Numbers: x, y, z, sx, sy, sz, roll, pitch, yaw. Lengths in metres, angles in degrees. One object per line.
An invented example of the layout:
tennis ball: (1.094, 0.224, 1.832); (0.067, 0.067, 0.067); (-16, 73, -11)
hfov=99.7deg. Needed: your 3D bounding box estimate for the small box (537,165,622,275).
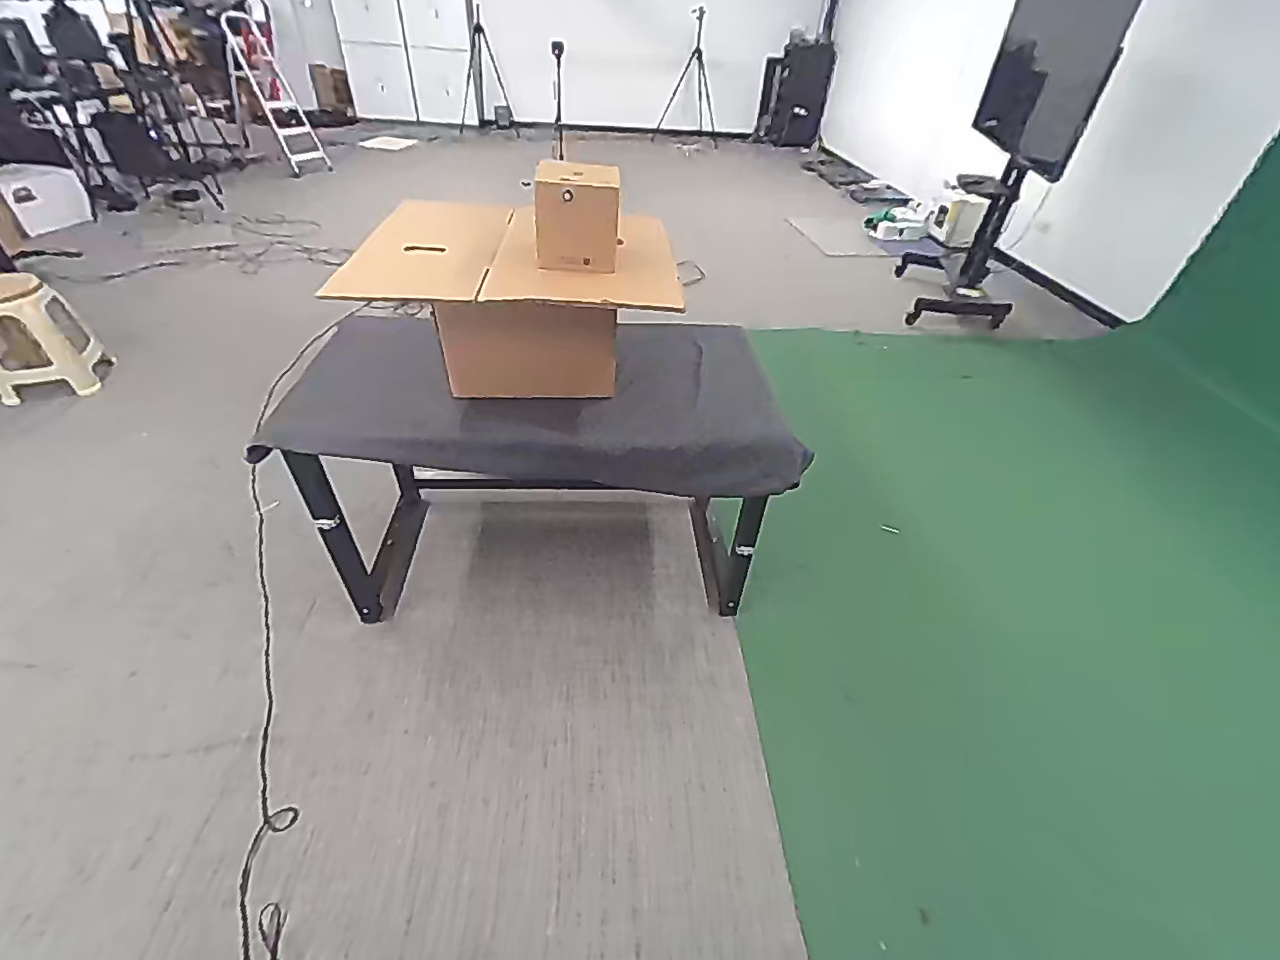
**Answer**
small box: (-0.126, -0.556, 1.157); (0.168, 0.176, 0.179); (2, 40, -4)
